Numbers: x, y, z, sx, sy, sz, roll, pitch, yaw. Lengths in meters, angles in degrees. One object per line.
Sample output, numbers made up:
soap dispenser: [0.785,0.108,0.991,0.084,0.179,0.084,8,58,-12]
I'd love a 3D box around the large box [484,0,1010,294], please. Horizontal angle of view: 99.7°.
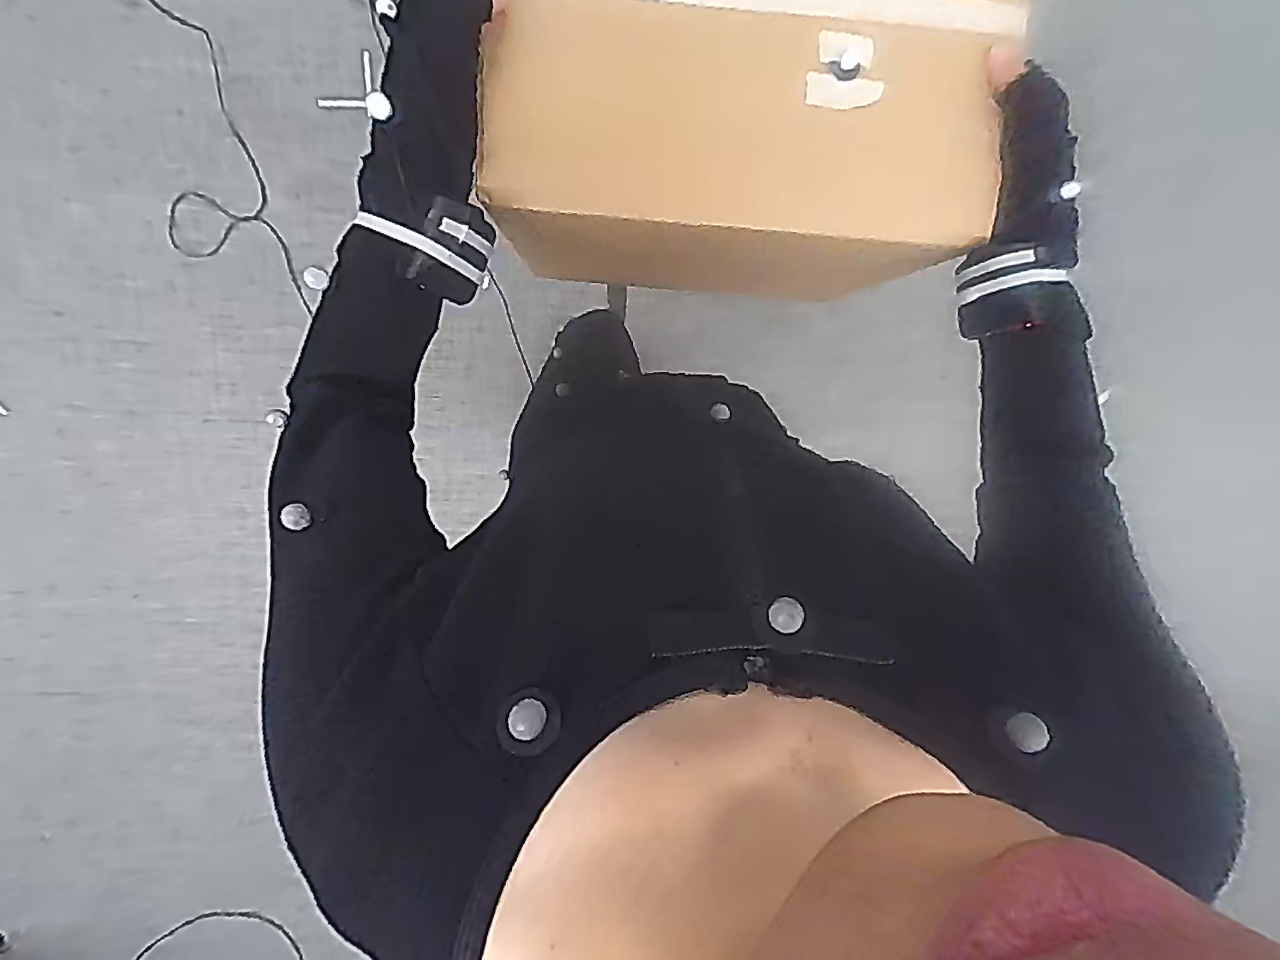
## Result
large box: [0.074,-0.384,0.550,0.408,0.320,0.320,3,100,-4]
